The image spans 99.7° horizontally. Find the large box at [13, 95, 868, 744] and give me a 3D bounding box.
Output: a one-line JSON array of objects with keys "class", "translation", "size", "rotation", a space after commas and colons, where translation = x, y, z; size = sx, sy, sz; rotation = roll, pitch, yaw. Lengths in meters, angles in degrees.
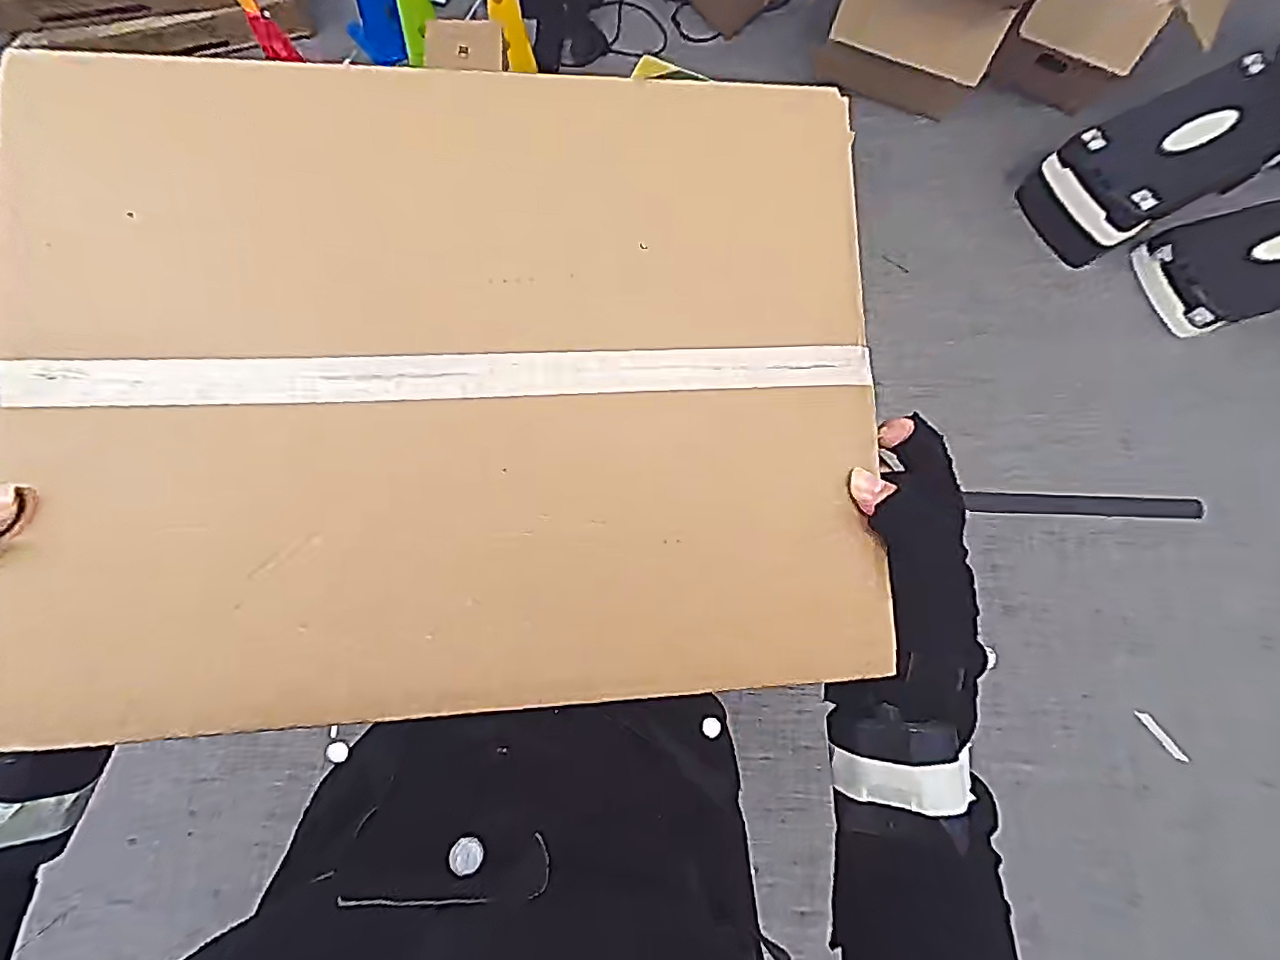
[{"class": "large box", "translation": [-0.099, -0.034, 0.419], "size": [0.408, 0.320, 0.320], "rotation": [-2, 84, -7]}]
